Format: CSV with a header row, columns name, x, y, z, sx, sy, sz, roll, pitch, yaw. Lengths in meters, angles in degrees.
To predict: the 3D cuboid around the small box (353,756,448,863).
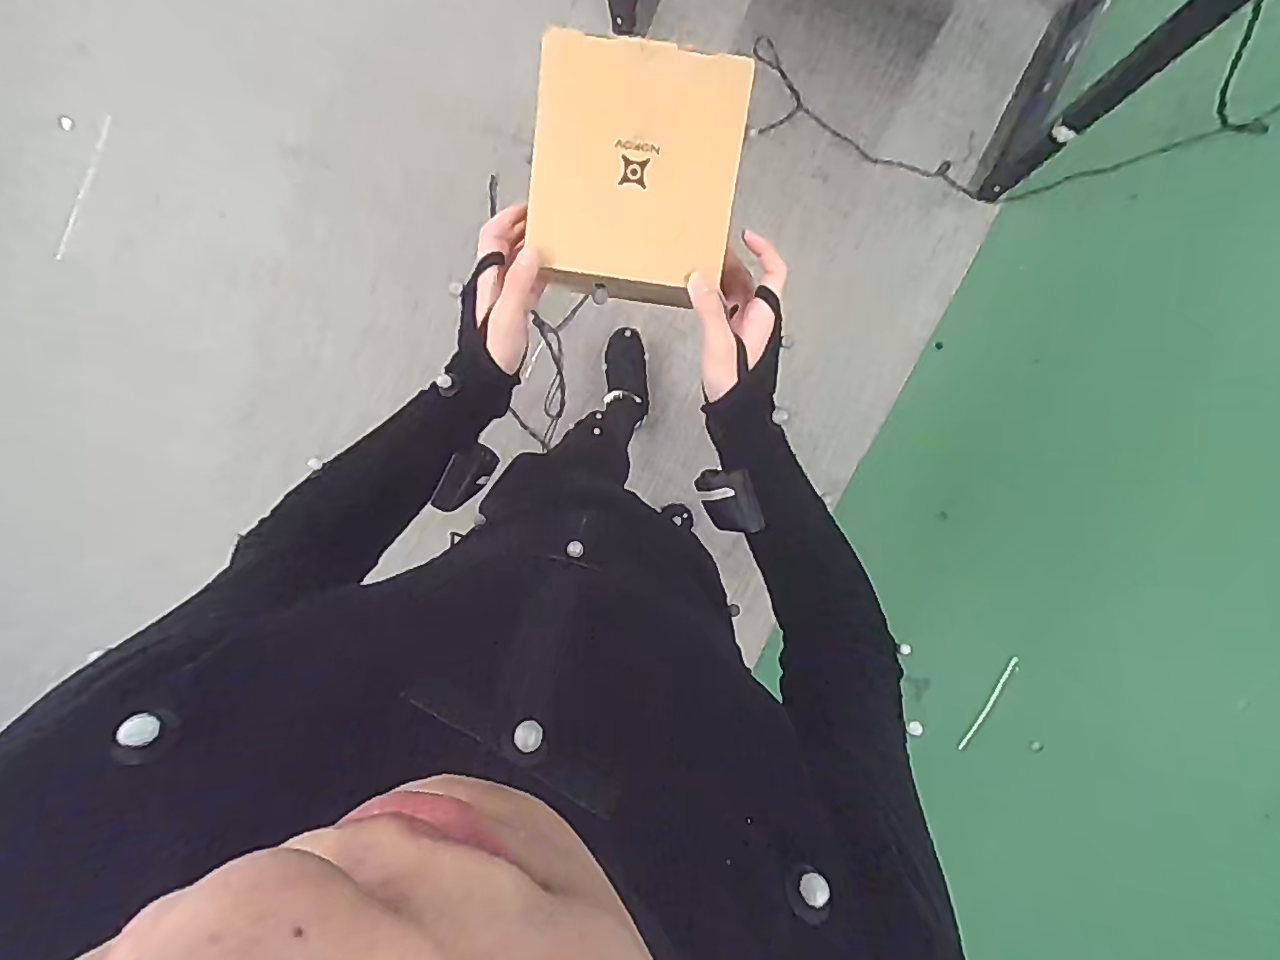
name,x,y,z,sx,sy,sz,roll,pitch,yaw
small box,-0.690,0.953,1.583,0.168,0.176,0.179,27,95,4
